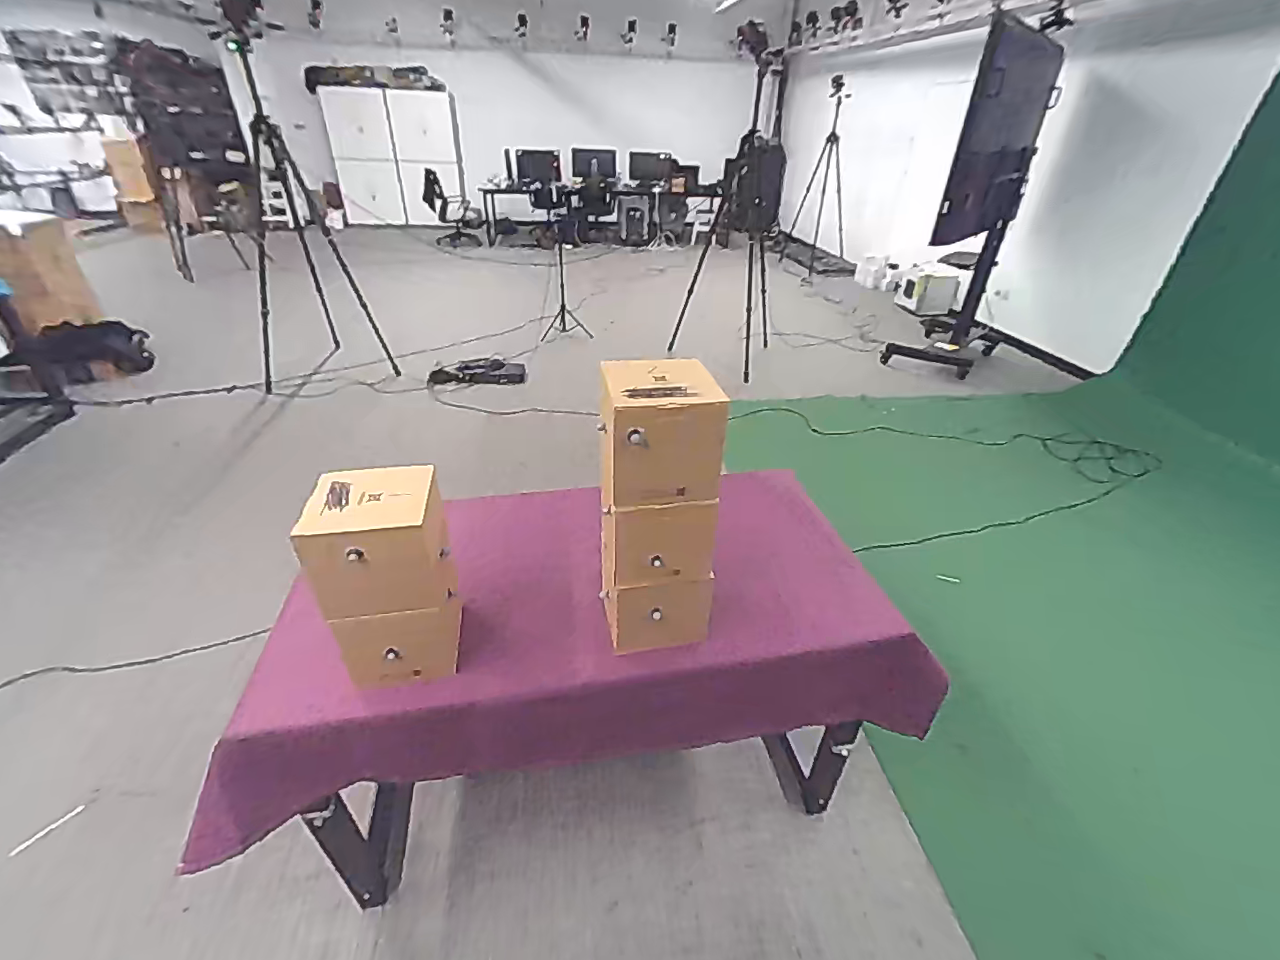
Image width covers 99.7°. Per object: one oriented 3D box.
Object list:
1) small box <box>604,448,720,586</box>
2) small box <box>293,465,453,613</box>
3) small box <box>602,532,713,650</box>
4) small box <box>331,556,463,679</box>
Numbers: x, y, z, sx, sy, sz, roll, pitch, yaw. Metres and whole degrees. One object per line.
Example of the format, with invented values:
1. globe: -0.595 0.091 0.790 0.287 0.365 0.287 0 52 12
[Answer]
1. small box: 0.027 0.060 0.940 0.168 0.176 0.179 -4 34 -9
2. small box: -0.410 0.094 0.864 0.179 0.176 0.168 -4 34 -10
3. small box: 0.028 0.201 1.024 0.179 0.176 0.168 -6 34 -10
4. small box: -0.413 0.231 0.955 0.168 0.176 0.179 -4 33 -10
